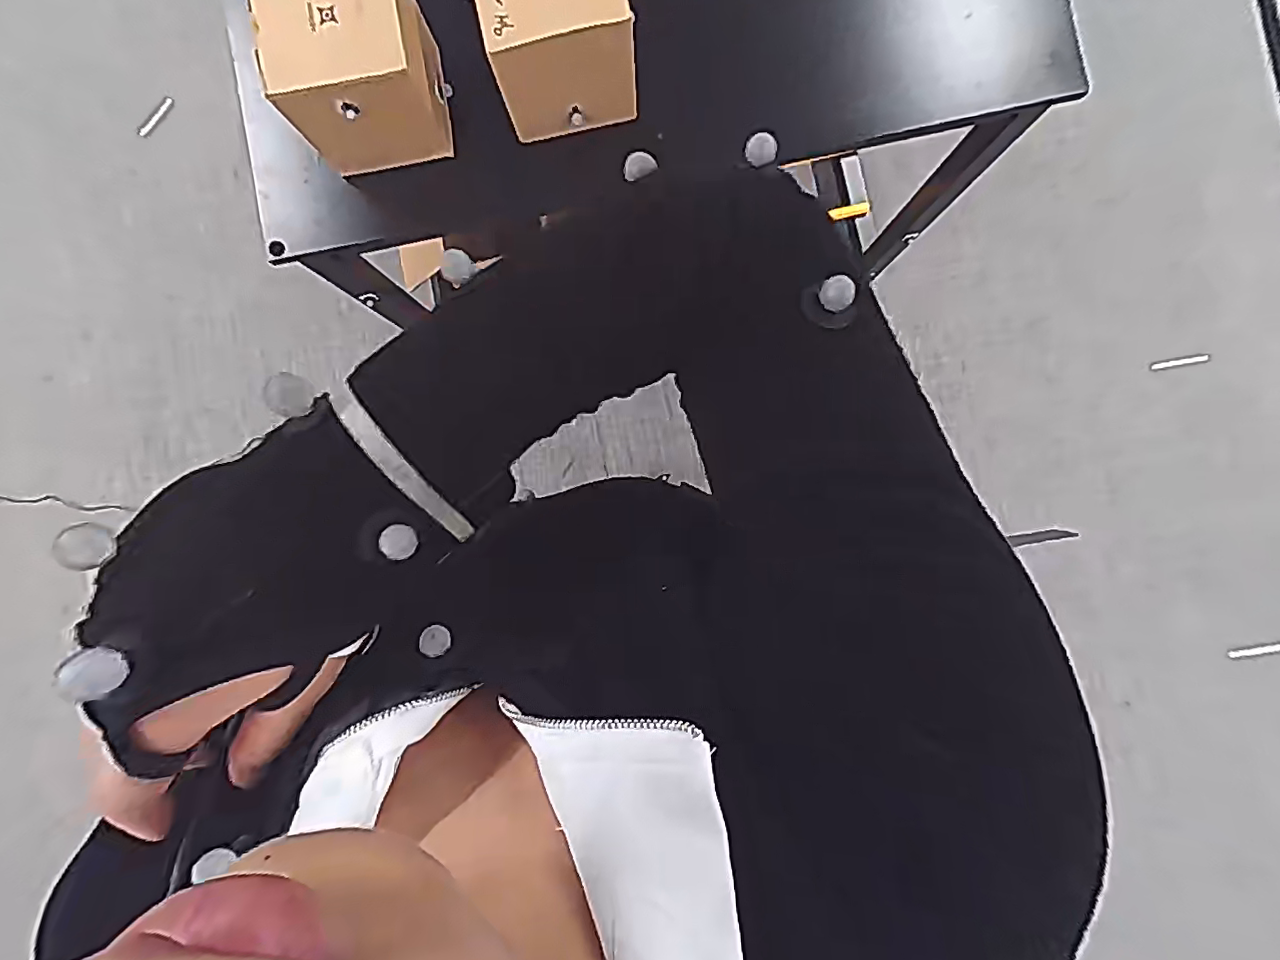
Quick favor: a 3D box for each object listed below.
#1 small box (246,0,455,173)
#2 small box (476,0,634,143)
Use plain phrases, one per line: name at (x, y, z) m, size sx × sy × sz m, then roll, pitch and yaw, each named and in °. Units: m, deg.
small box at (-0.367, -0.535, 0.708) m, size 0.179 × 0.176 × 0.168 m, roll -11°, pitch 89°, yaw 0°
small box at (-0.108, -0.583, 0.705) m, size 0.179 × 0.176 × 0.168 m, roll -12°, pitch 88°, yaw 0°
